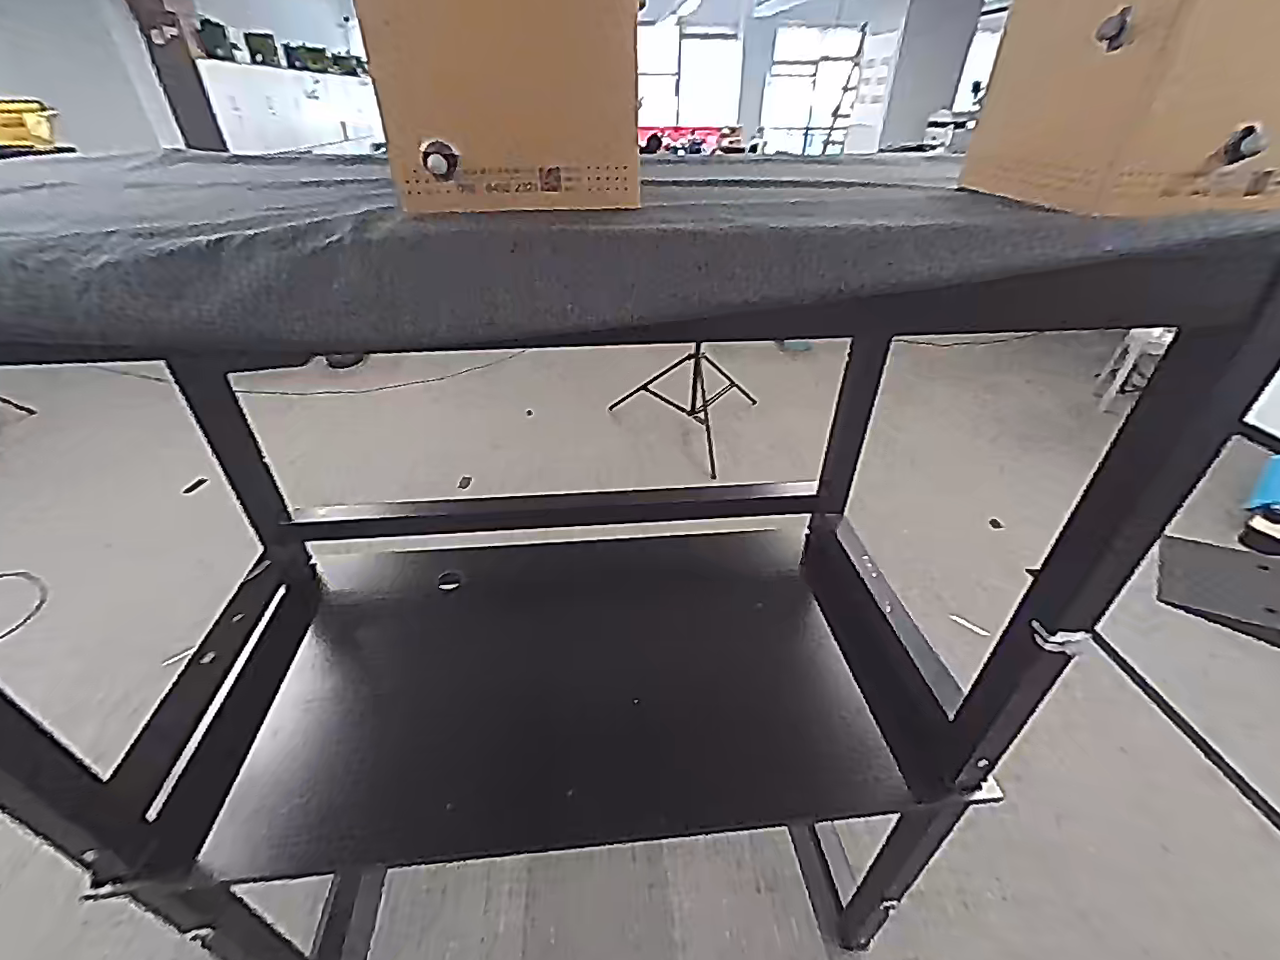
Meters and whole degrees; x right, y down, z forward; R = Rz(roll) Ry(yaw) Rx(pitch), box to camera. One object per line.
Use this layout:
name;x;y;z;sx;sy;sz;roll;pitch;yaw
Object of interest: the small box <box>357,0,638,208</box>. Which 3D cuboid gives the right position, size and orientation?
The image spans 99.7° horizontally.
small box;-0.091;-0.302;0.400;0.168;0.176;0.179;-4;33;-6
